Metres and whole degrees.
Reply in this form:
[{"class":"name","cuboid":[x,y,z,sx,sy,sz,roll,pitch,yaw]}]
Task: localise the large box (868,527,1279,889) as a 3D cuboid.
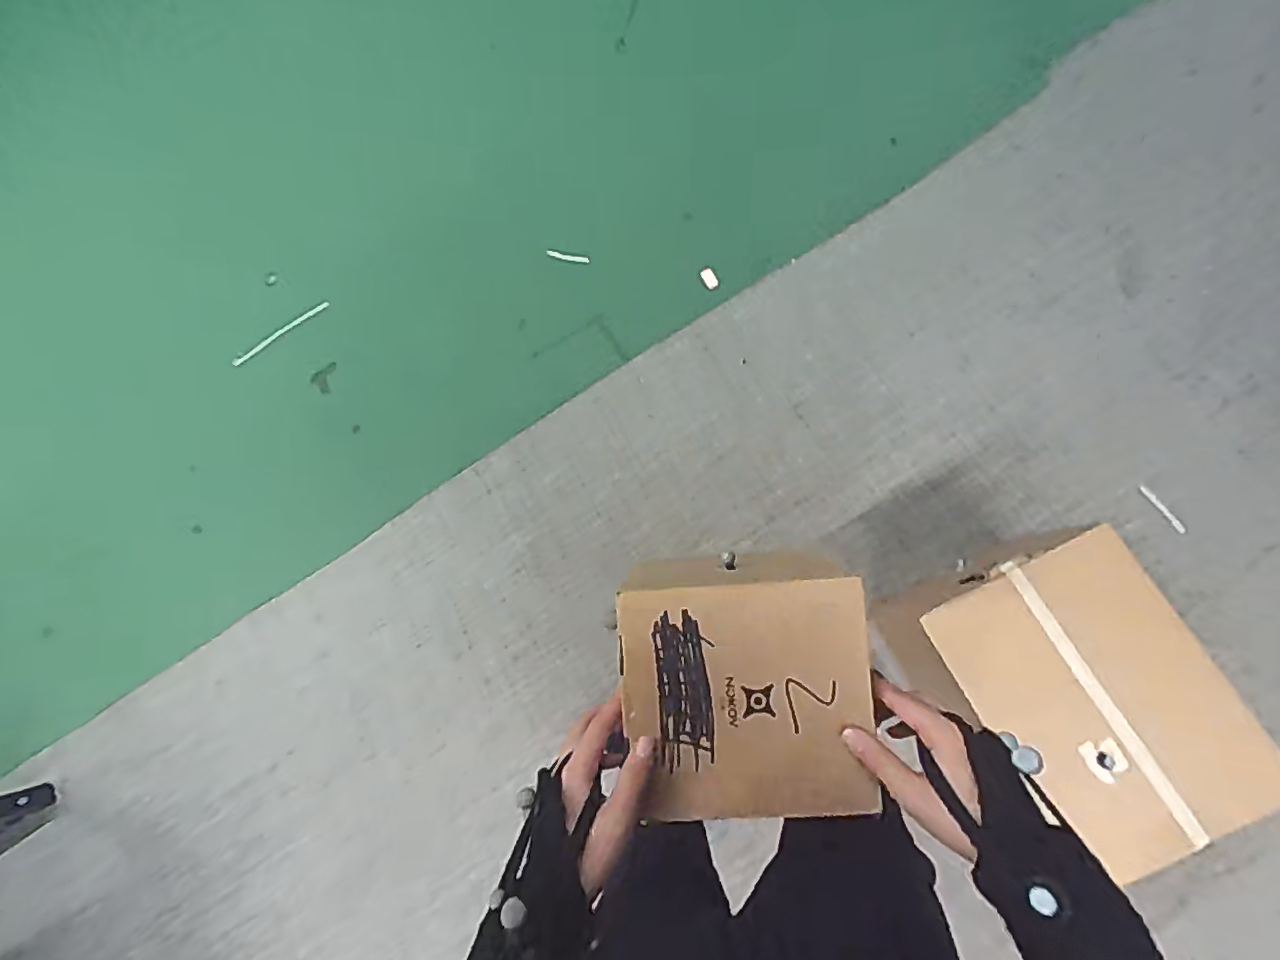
[{"class":"large box","cuboid":[0.659,0.334,0.904,0.320,0.320,0.408,-28,76,3]}]
